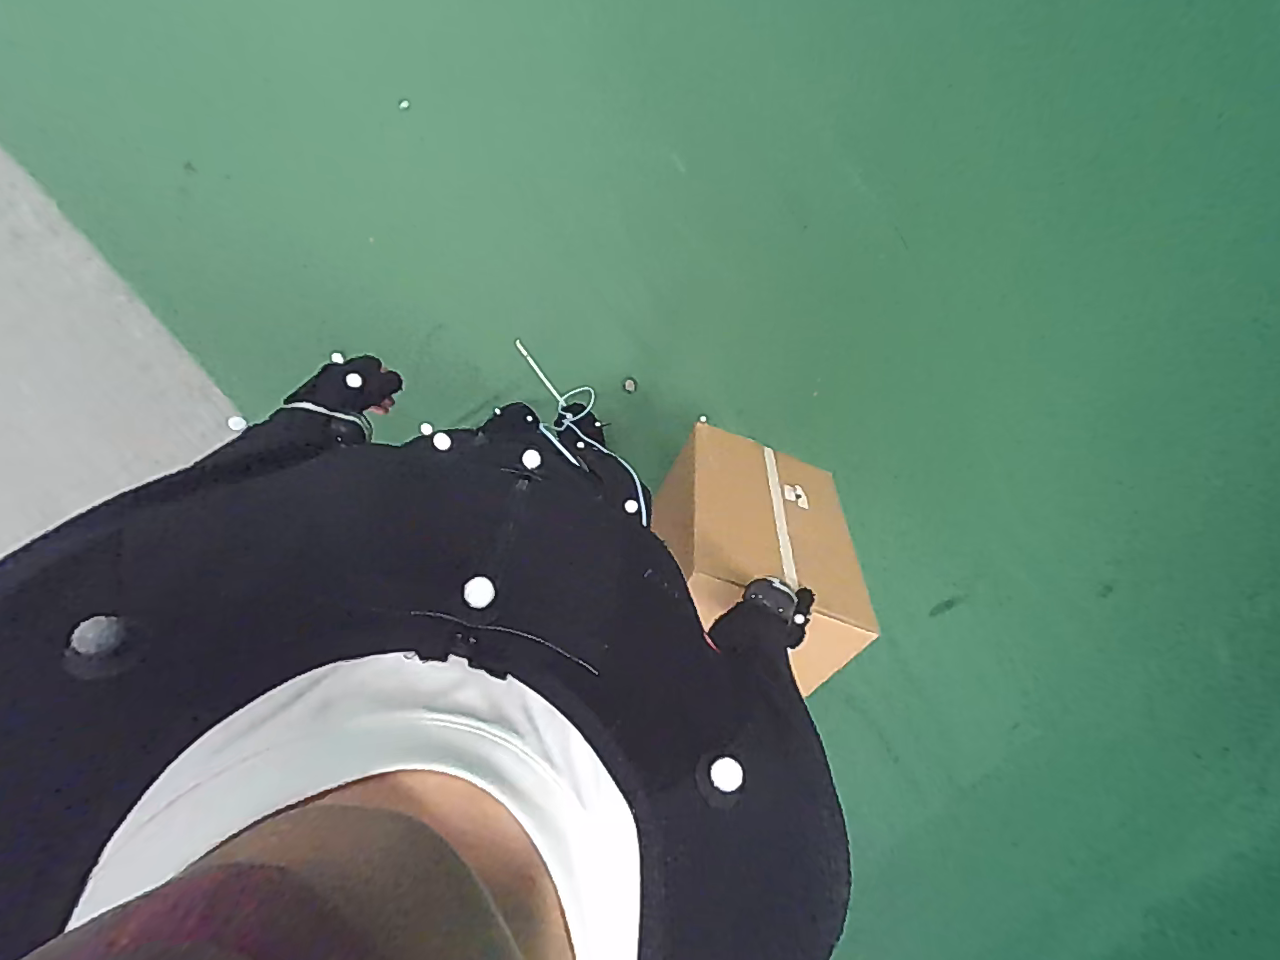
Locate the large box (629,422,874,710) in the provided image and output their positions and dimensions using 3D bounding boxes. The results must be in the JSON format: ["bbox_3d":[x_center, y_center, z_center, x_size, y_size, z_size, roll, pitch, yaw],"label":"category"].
[{"bbox_3d":[0.182,0.161,1.048,0.320,0.408,0.320,20,127,-10],"label":"large box"}]
